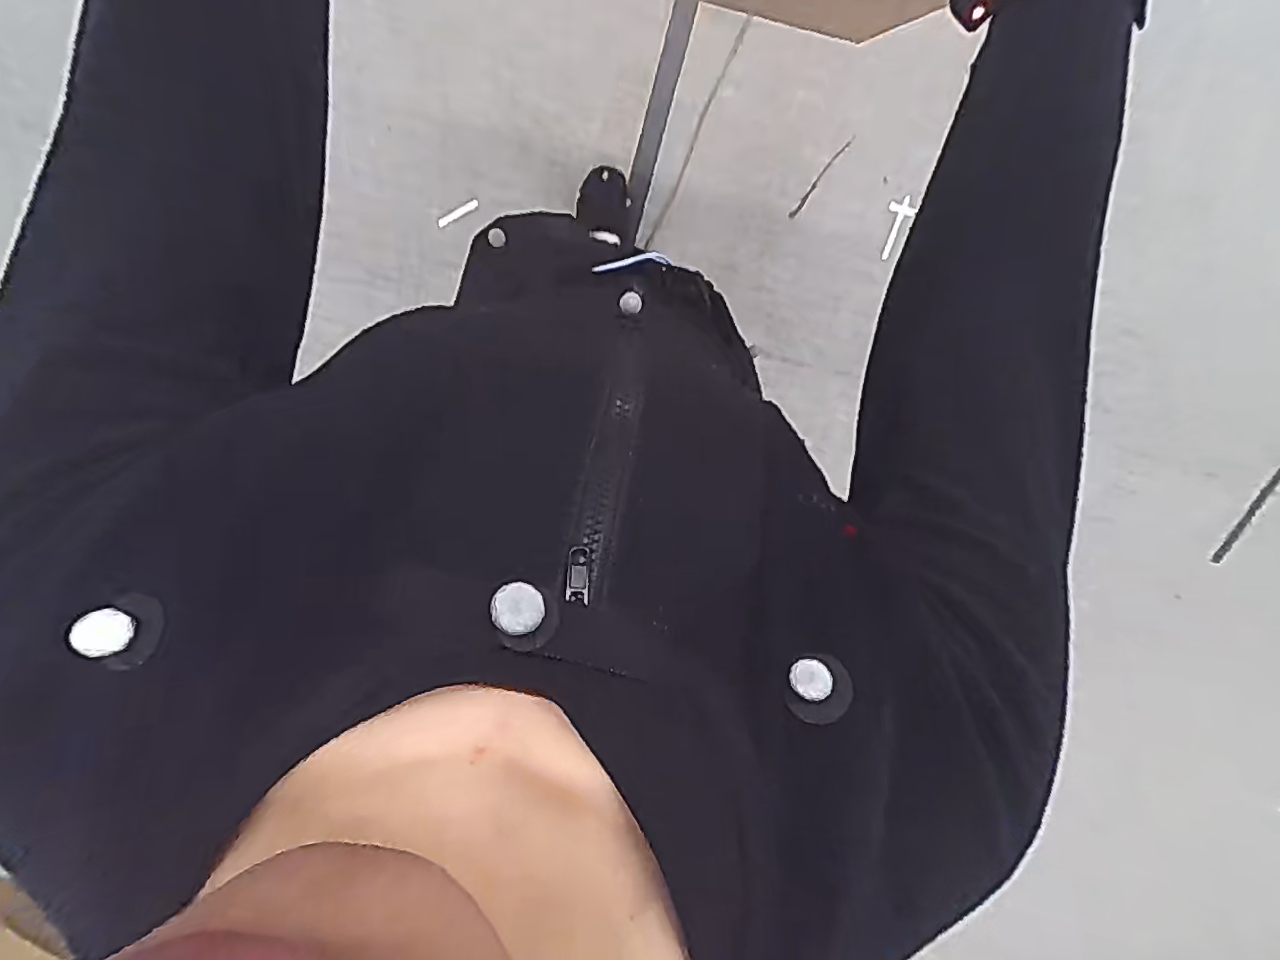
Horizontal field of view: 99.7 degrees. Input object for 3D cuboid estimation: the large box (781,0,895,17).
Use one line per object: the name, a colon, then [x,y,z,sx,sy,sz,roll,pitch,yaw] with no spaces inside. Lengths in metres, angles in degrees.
large box: [0.074,-0.579,0.373,0.408,0.320,0.320,13,123,-3]
